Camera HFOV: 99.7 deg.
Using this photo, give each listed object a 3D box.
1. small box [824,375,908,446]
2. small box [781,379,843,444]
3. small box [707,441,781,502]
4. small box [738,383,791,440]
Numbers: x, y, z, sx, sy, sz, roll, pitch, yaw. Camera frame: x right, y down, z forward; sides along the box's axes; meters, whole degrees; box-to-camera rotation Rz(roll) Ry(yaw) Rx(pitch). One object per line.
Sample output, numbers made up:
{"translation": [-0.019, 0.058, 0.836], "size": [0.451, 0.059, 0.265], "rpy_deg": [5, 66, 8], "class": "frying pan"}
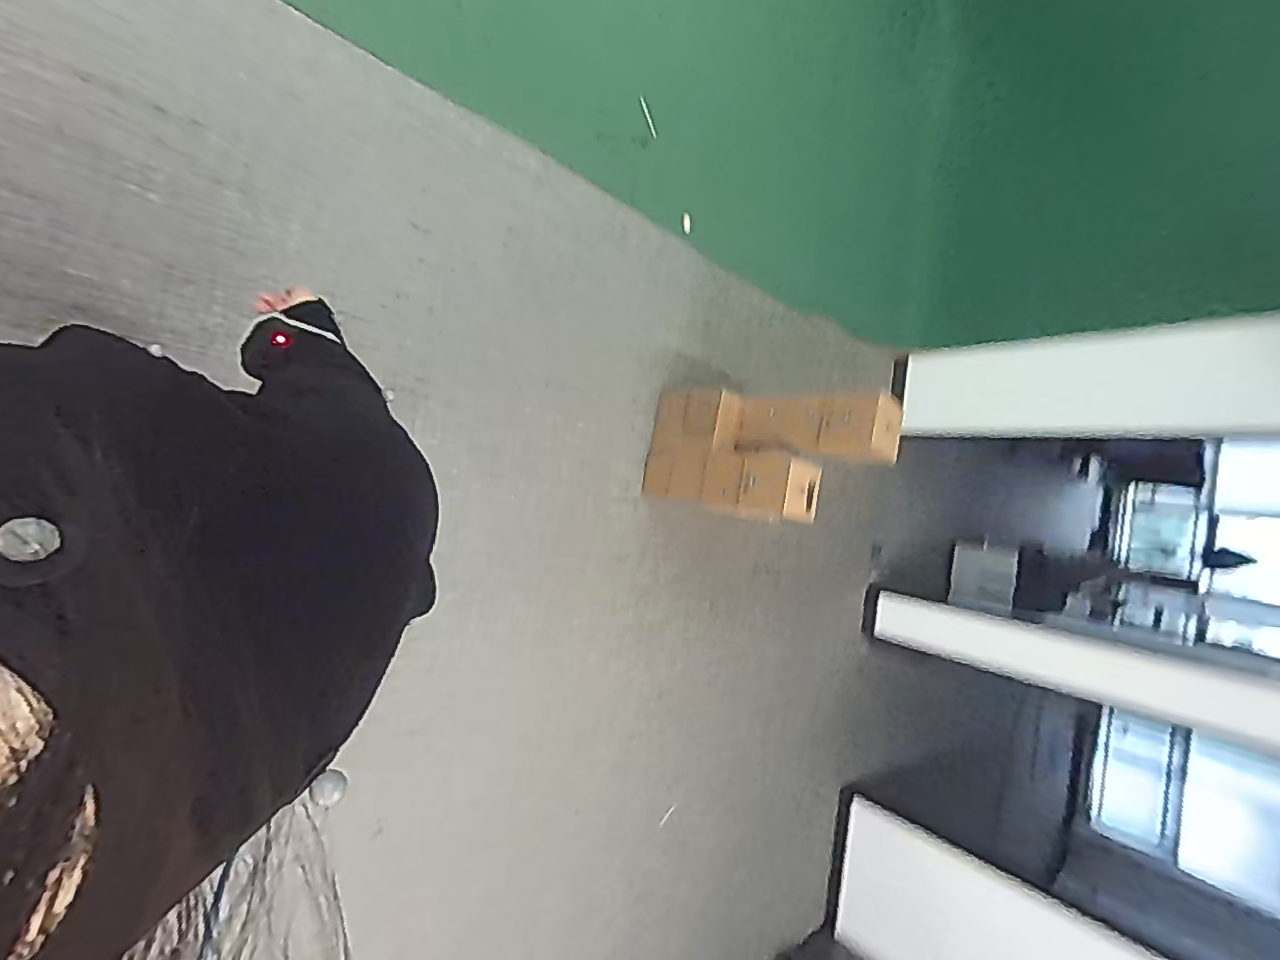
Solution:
{"translation": [0.680, -0.204, 1.633], "size": [0.179, 0.176, 0.168], "rpy_deg": [19, 82, -41], "class": "small box"}
{"translation": [0.577, -0.217, 1.758], "size": [0.168, 0.176, 0.179], "rpy_deg": [10, 85, -42], "class": "small box"}
{"translation": [0.341, -0.030, 1.793], "size": [0.168, 0.176, 0.179], "rpy_deg": [9, 89, -42], "class": "small box"}
{"translation": [0.470, -0.236, 1.886], "size": [0.179, 0.176, 0.168], "rpy_deg": [11, 86, -43], "class": "small box"}
